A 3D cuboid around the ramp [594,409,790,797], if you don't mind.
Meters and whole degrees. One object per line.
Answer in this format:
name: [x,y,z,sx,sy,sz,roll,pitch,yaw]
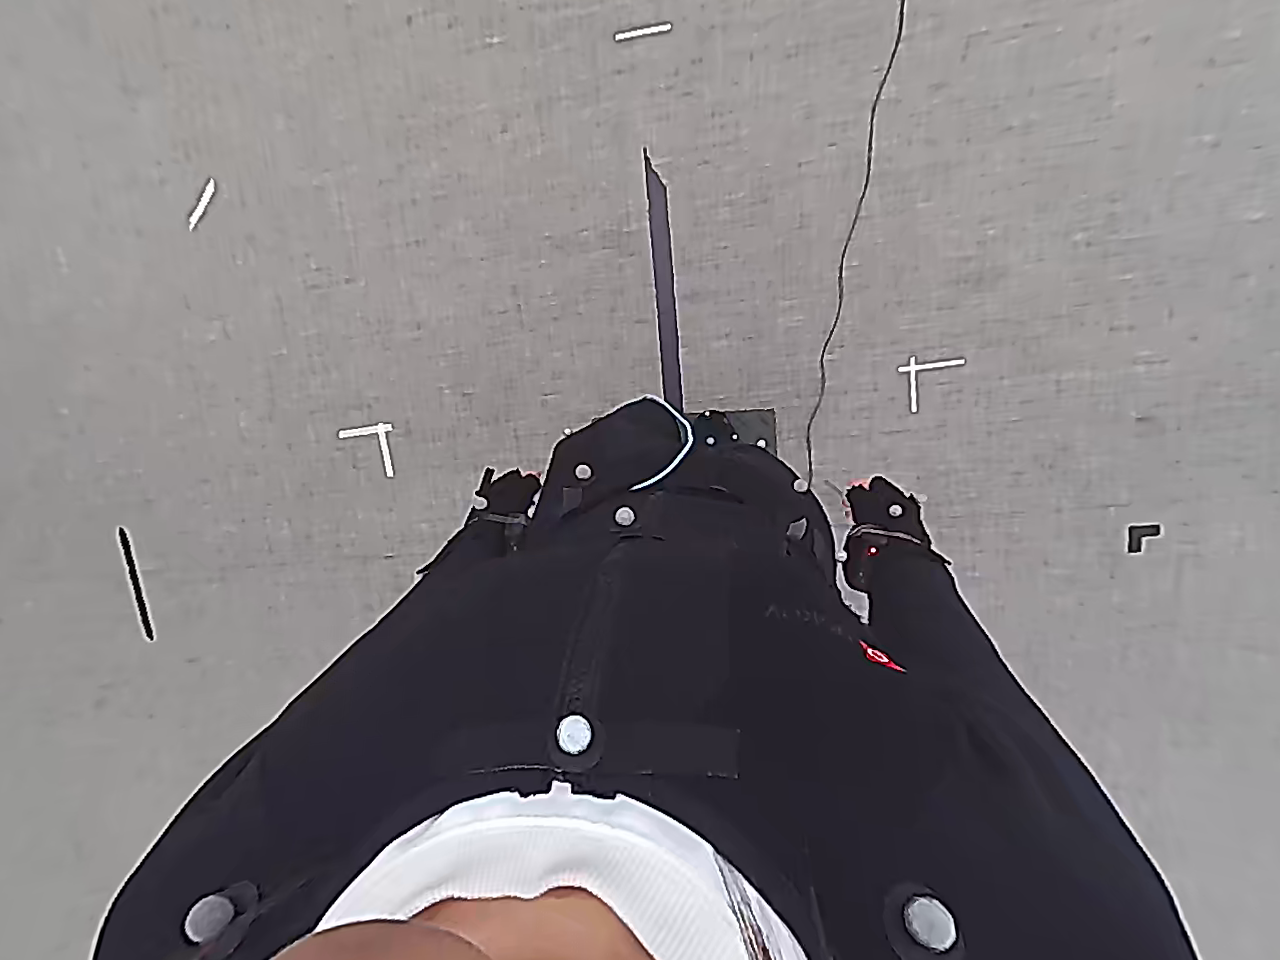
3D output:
ramp: [0.126,0.321,1.436,0.509,0.206,0.991,-4,98,10]
